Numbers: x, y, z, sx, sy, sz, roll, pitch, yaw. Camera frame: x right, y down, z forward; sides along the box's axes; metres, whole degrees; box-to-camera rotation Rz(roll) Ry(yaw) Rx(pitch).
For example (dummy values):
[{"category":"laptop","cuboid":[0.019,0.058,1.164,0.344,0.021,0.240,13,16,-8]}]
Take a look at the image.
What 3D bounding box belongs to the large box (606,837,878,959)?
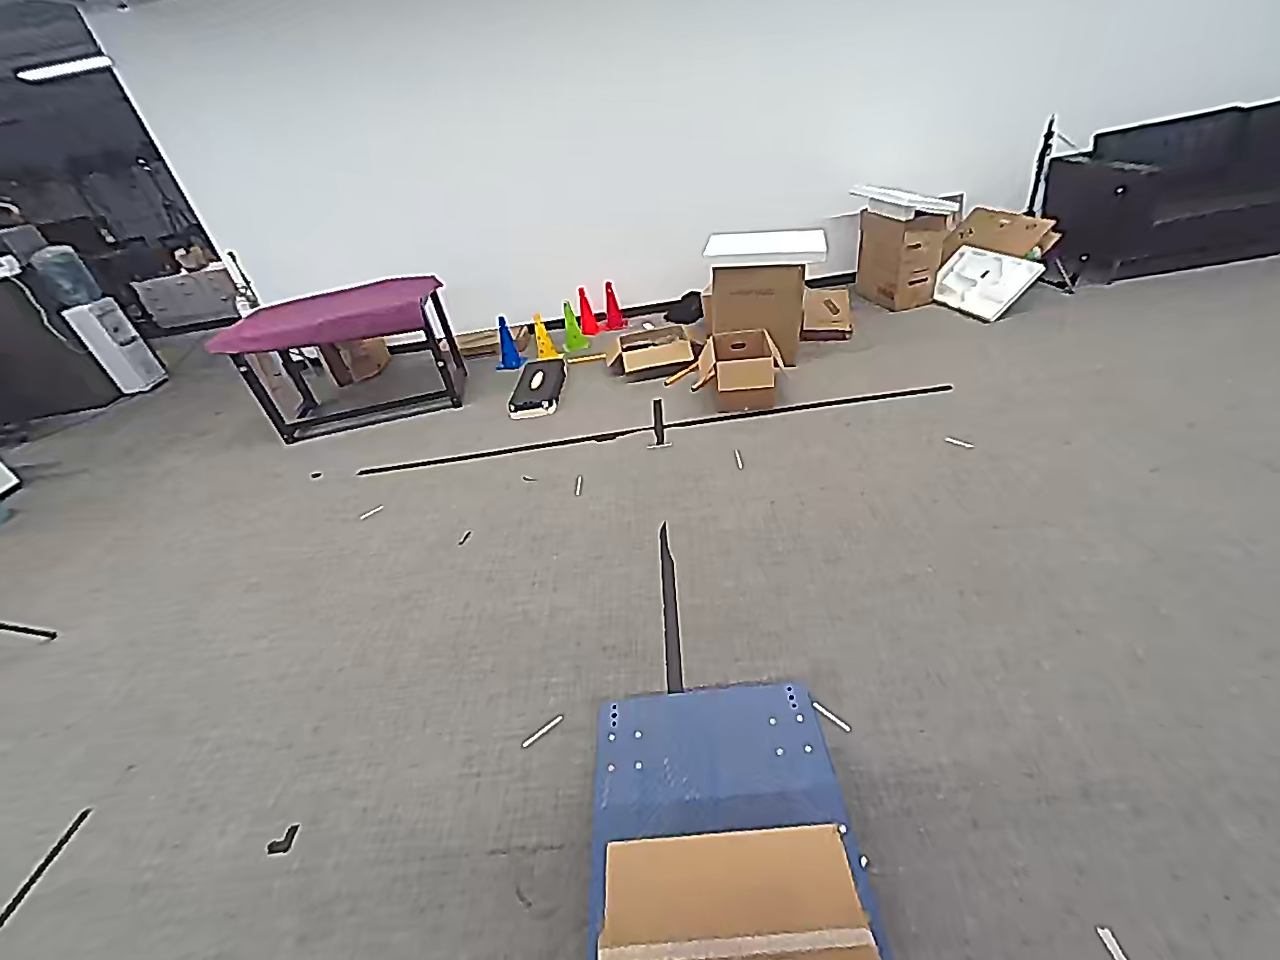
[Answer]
[{"category":"large box","cuboid":[0.164,0.832,0.873,0.408,0.320,0.320,-7,35,3]}]
